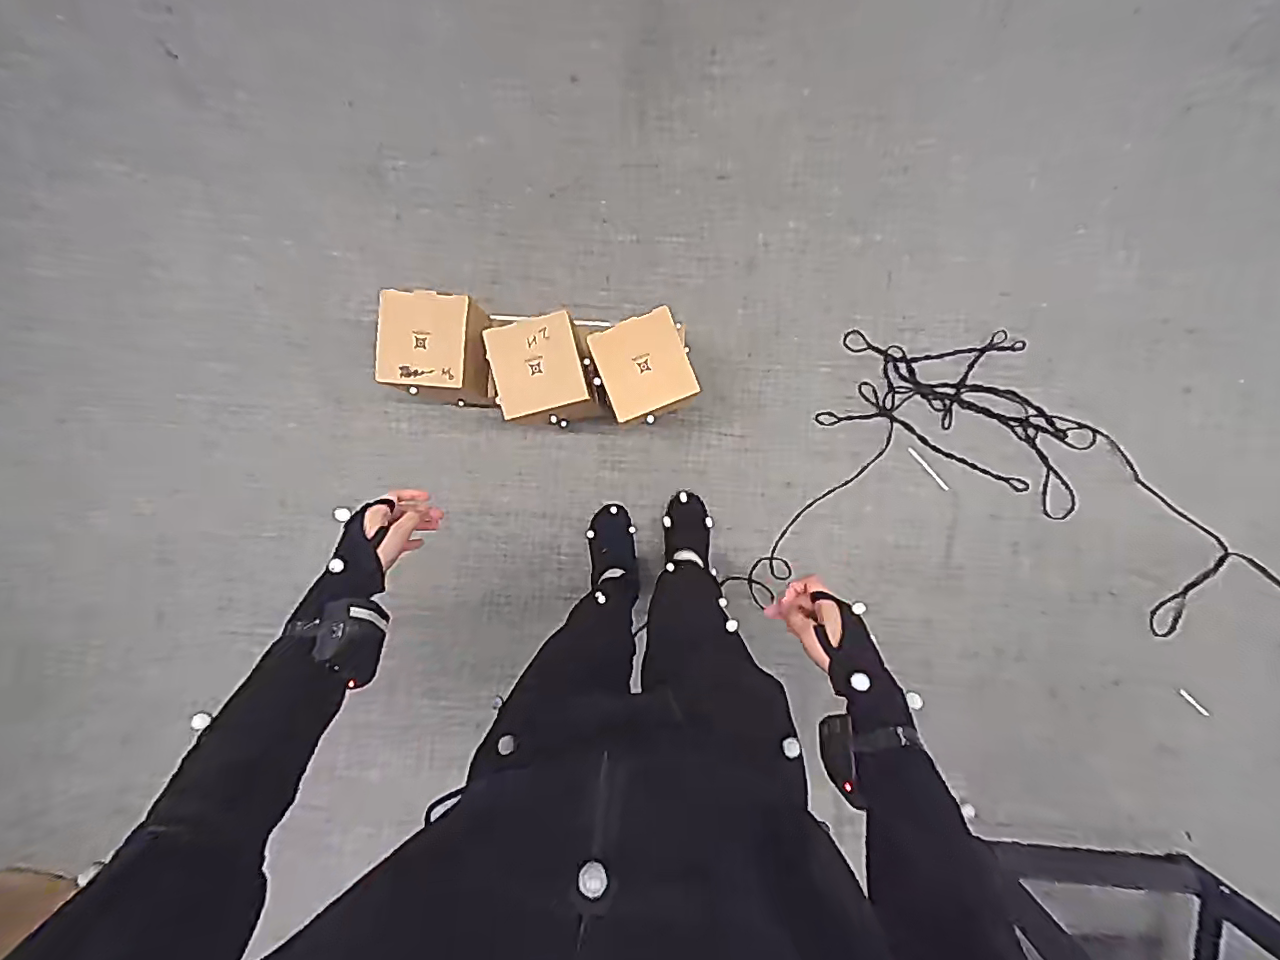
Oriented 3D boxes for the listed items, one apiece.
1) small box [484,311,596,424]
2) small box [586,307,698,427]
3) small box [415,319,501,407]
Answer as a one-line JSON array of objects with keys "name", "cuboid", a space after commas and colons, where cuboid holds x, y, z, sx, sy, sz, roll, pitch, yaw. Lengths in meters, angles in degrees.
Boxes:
[{"name": "small box", "cuboid": [-0.191, -0.214, 1.085, 0.168, 0.176, 0.179, -14, 90, 1]}, {"name": "small box", "cuboid": [0.007, -0.214, 1.082, 0.168, 0.176, 0.179, -22, 89, 1]}, {"name": "small box", "cuboid": [-0.395, -0.263, 1.249, 0.179, 0.176, 0.168, 3, 90, 1]}]
